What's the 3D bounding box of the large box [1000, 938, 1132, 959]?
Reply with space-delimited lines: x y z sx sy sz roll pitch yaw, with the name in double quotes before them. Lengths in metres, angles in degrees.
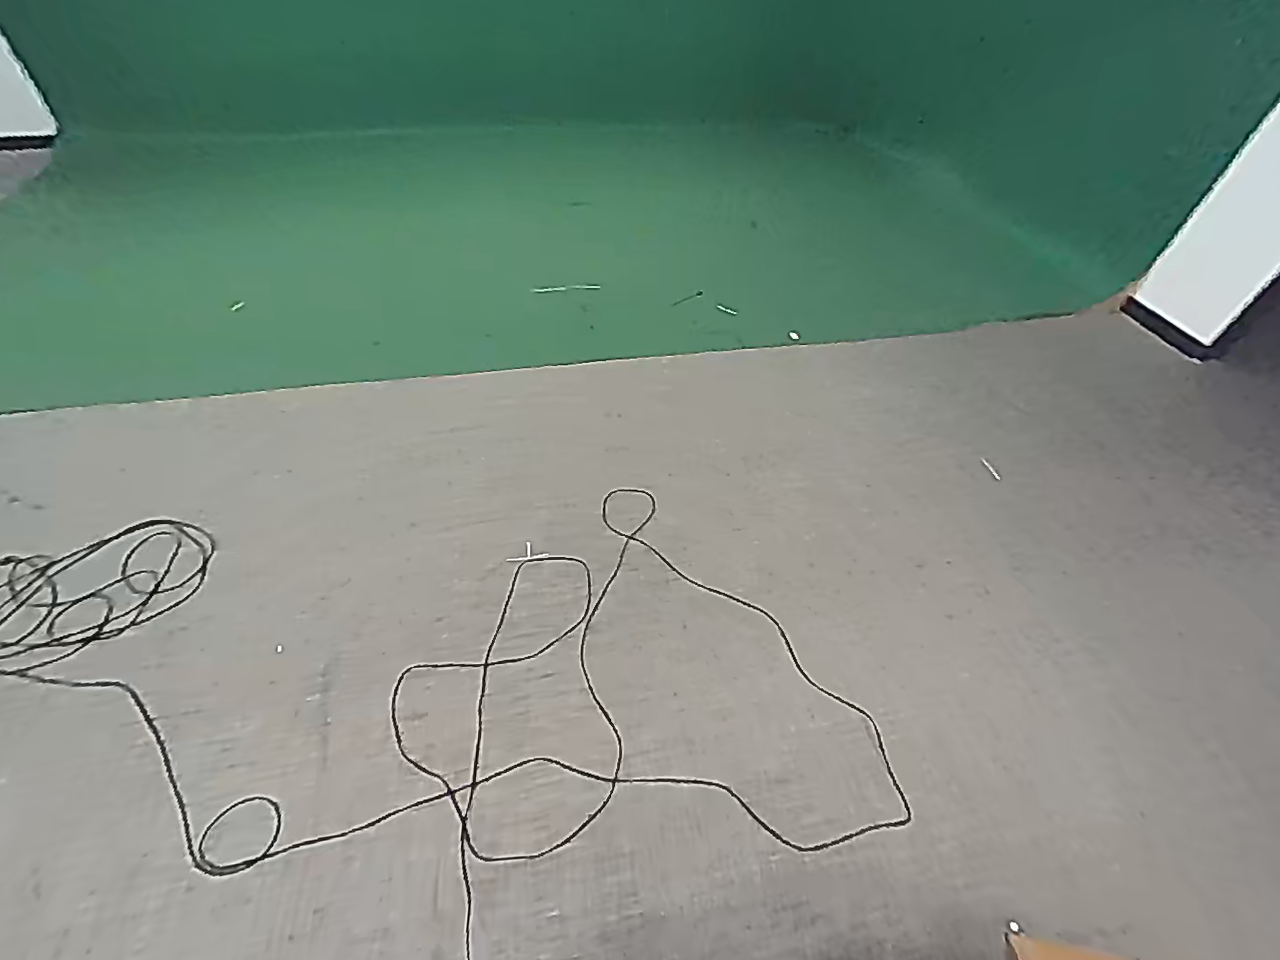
"large box" 0.603 0.787 0.528 0.320 0.408 0.320 3 88 14
